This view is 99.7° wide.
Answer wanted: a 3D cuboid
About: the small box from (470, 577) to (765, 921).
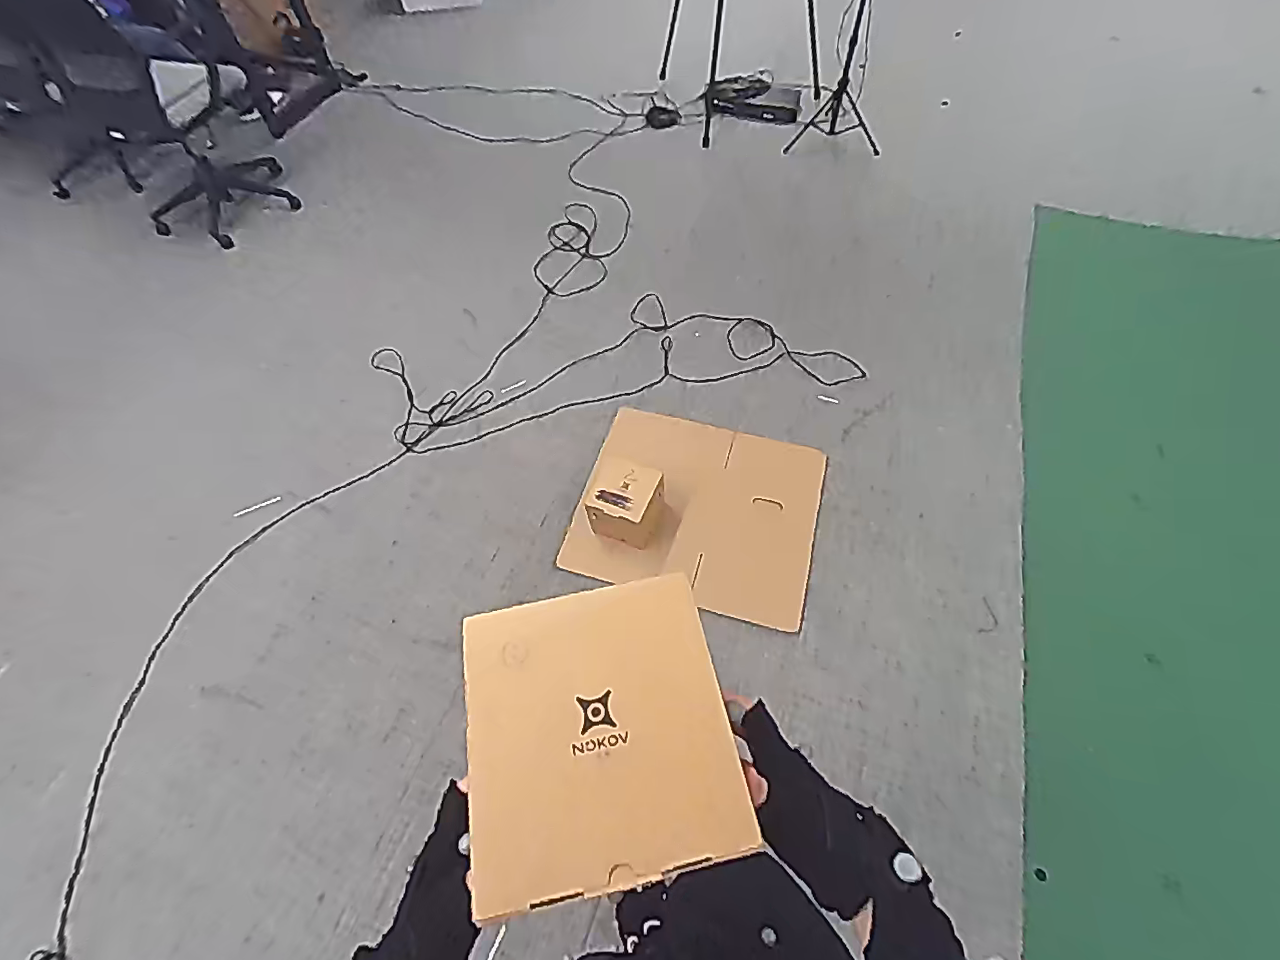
[{"bbox_3d":[-0.024,0.199,0.412,0.168,0.176,0.179,-11,58,-6],"label":"small box"}]
